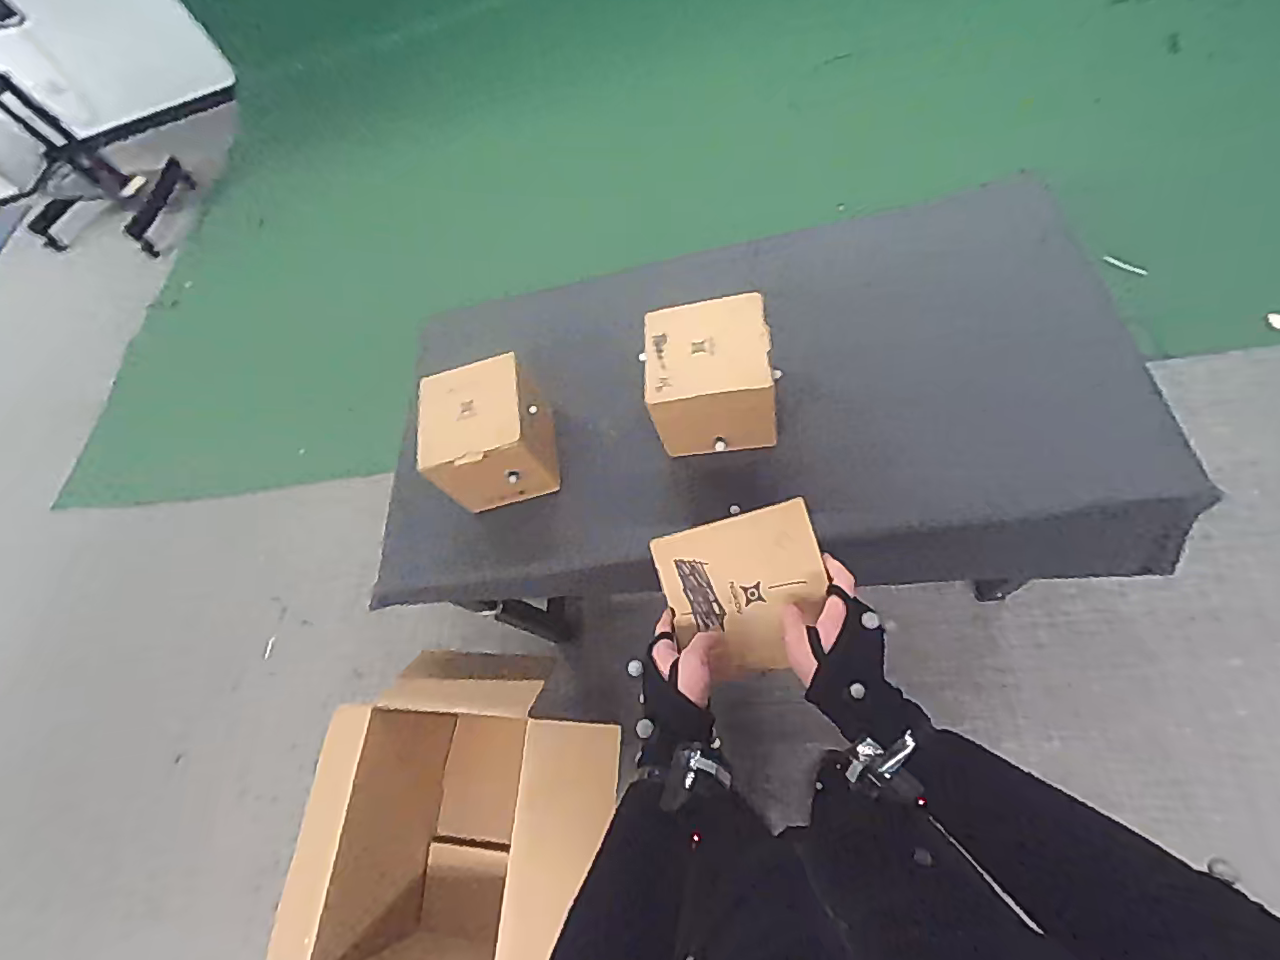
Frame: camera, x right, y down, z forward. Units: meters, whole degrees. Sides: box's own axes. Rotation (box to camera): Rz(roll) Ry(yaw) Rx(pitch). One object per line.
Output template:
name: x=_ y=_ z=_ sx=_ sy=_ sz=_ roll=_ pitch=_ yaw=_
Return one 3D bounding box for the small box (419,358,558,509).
small box: x=-0.245 y=-0.066 z=0.900 sx=0.168 sy=0.176 sz=0.179 roll=-15 pitch=60 yaw=7

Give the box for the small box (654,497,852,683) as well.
small box: x=0.138 y=0.126 z=0.649 sx=0.179 sy=0.176 sz=0.168 roll=-18 pitch=81 yaw=14

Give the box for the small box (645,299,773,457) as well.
small box: x=0.110 y=-0.149 z=0.837 sx=0.179 sy=0.176 sz=0.168 roll=-6 pitch=64 yaw=12
